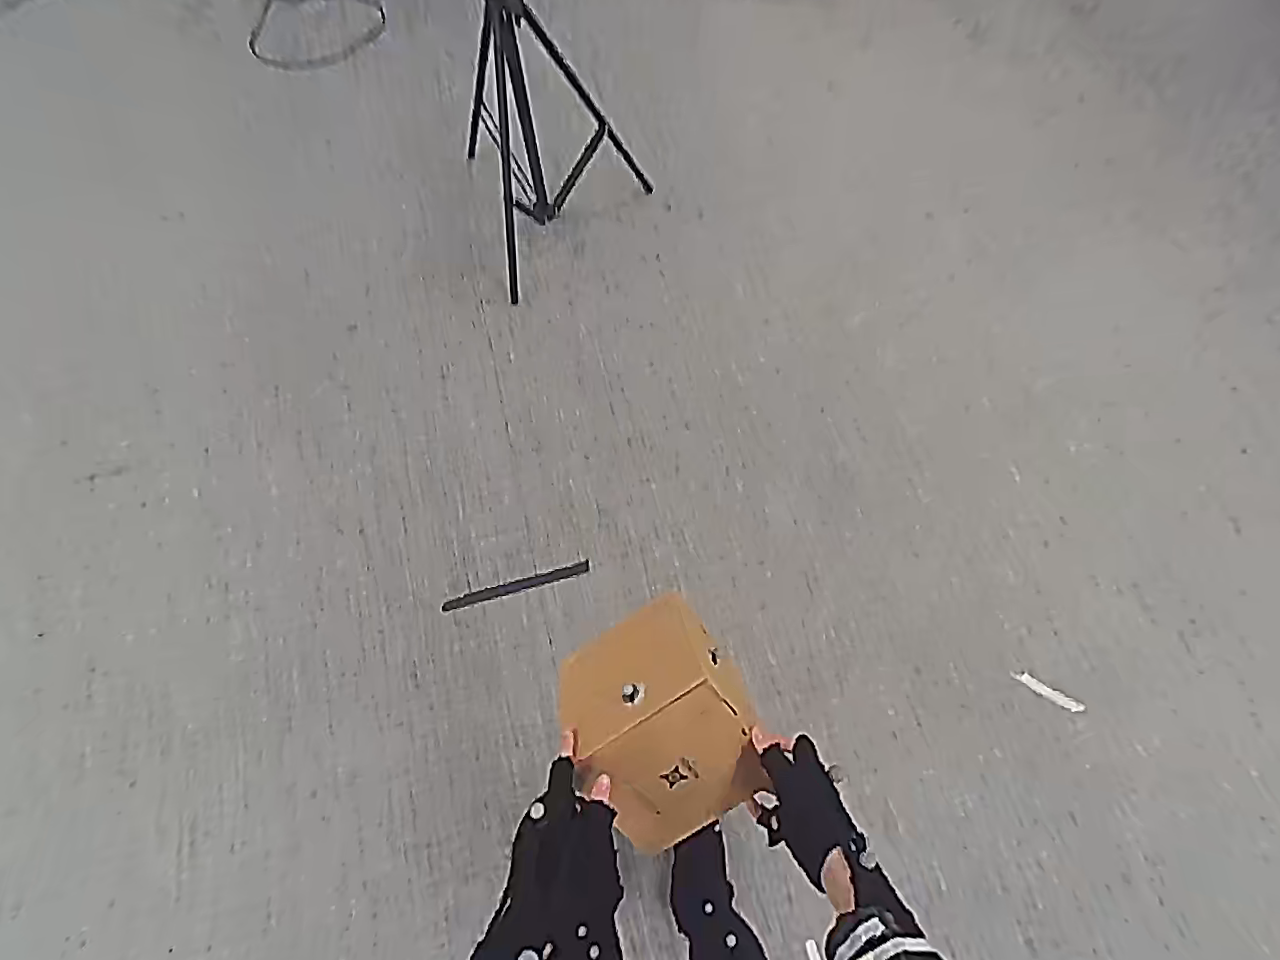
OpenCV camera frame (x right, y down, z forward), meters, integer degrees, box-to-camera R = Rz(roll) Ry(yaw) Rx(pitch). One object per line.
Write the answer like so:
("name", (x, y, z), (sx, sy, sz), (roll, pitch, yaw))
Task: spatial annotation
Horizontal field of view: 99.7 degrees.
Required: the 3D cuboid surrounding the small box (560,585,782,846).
("small box", (0.023, 0.253, 0.612), (0.179, 0.176, 0.168), (-35, 111, 5))
